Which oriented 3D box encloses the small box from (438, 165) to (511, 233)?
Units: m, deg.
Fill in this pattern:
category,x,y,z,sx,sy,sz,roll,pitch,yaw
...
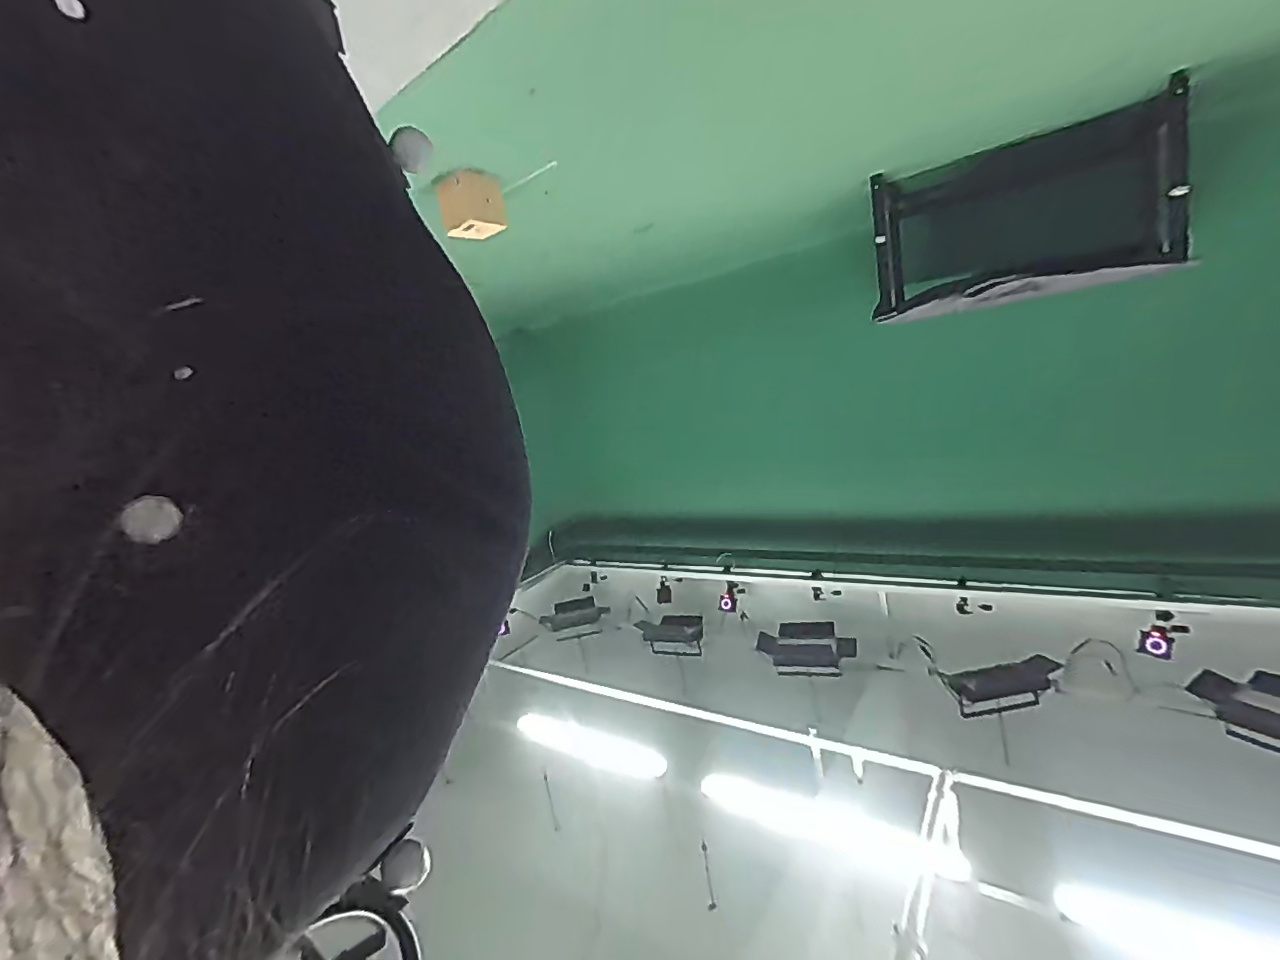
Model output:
category,x,y,z,sx,sy,sz,roll,pitch,yaw
small box,-0.607,-1.026,1.974,0.168,0.176,0.179,-3,-167,35
